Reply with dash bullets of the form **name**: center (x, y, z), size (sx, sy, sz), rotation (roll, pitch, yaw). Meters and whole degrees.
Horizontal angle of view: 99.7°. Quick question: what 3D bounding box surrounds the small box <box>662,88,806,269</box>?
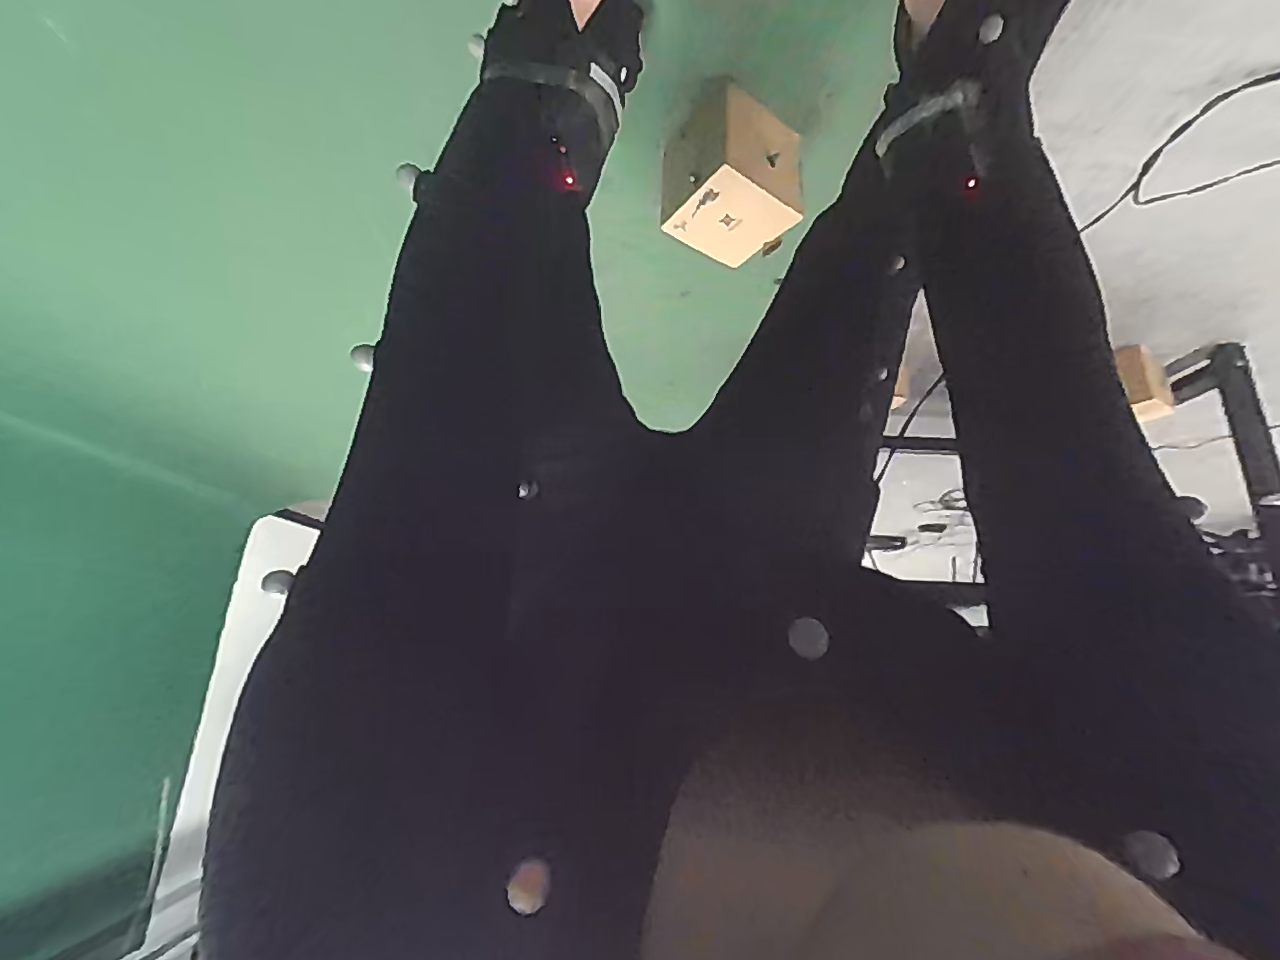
- **small box**: center (0.154, -0.493, 0.899), size (0.179, 0.176, 0.168), rotation (12, 161, -32)

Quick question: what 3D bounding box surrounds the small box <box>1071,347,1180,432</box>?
- **small box**: center (1.373, -0.255, 1.535), size (0.168, 0.176, 0.179), rotation (12, 161, -30)
